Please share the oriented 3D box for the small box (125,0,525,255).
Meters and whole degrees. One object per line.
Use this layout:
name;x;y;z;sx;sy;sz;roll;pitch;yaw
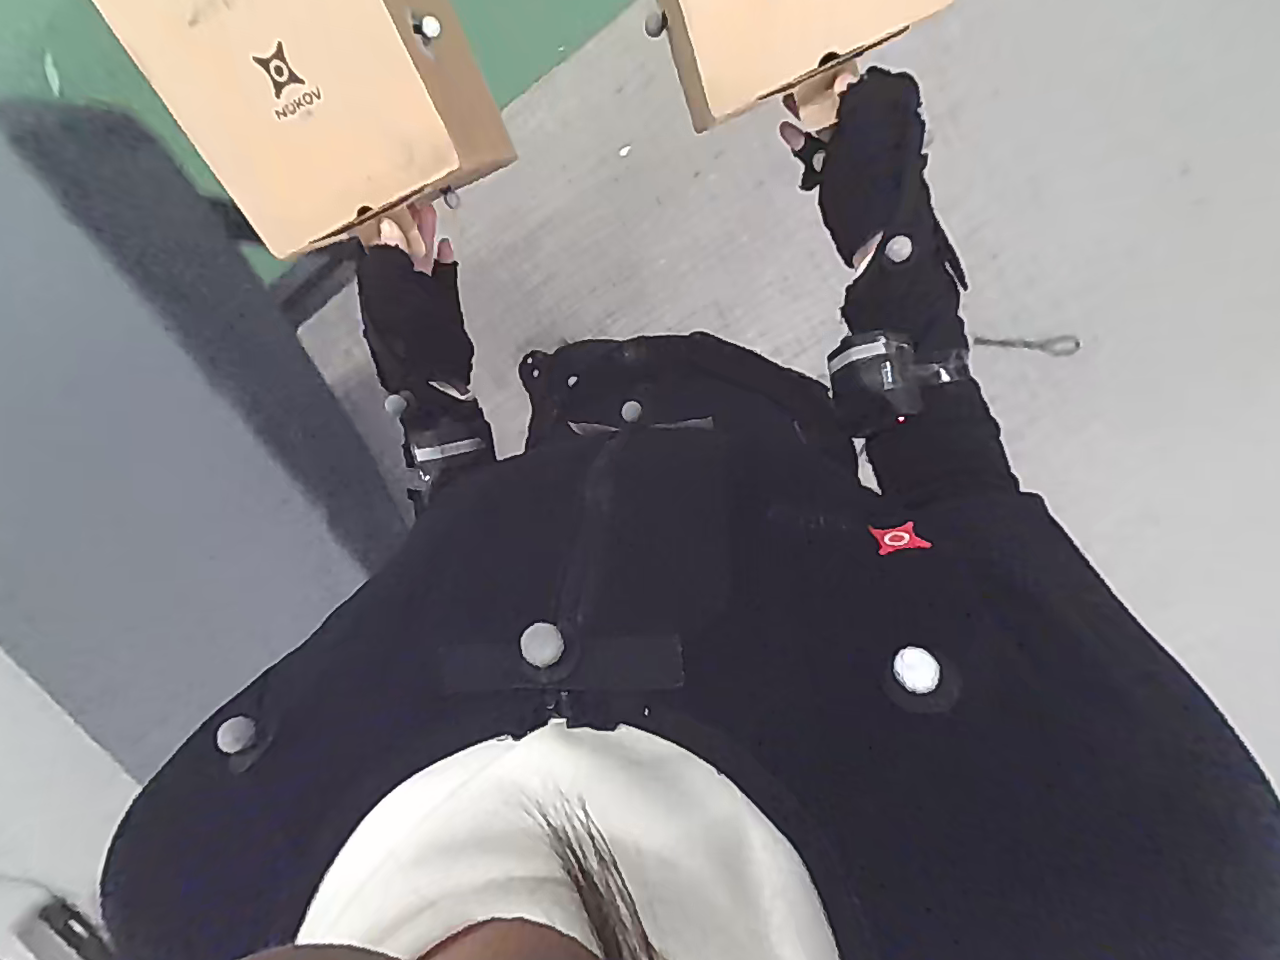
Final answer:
small box;-0.211;-0.305;0.419;0.168;0.176;0.179;-18;119;14
